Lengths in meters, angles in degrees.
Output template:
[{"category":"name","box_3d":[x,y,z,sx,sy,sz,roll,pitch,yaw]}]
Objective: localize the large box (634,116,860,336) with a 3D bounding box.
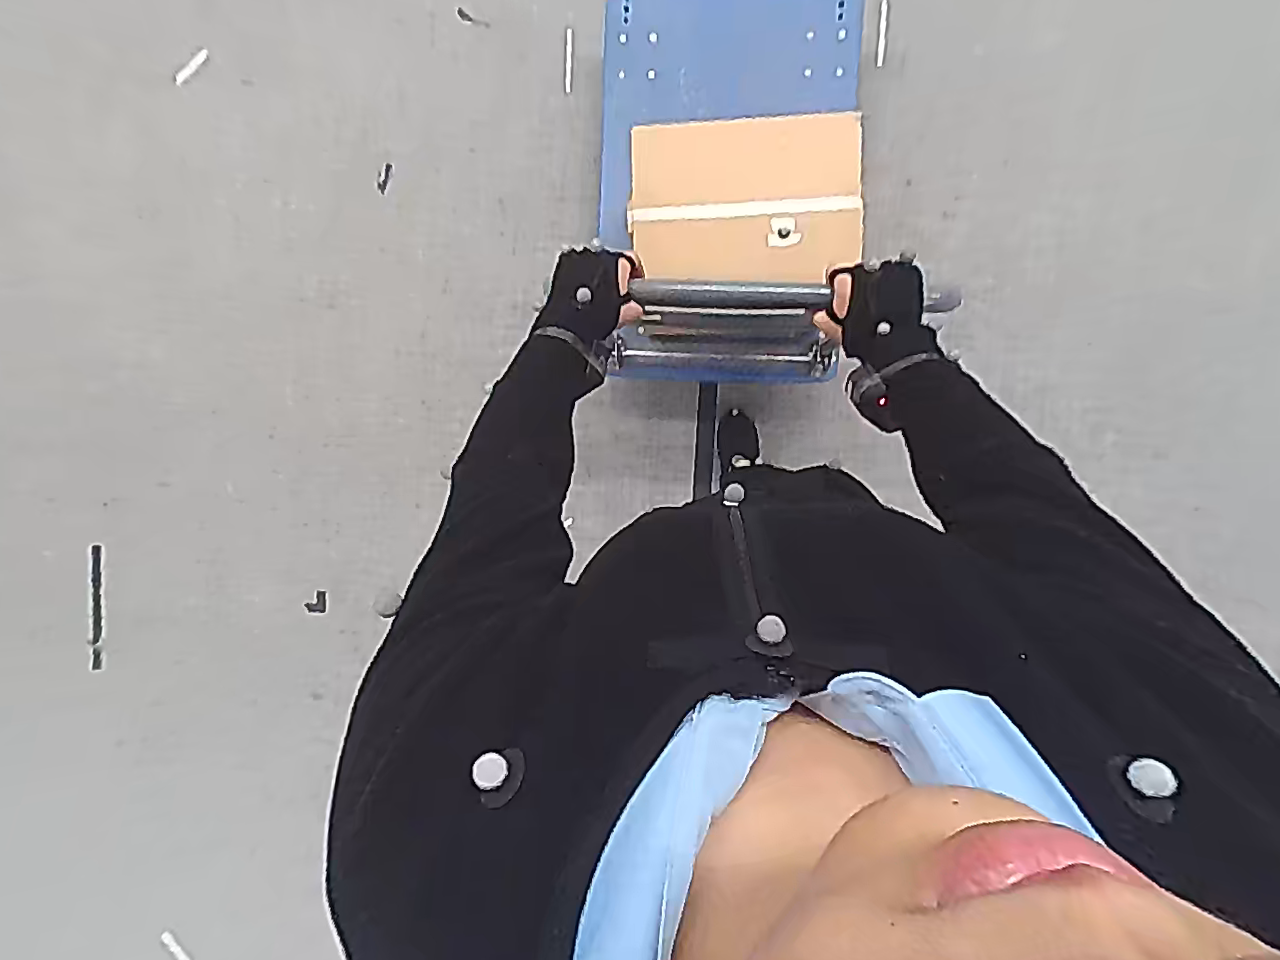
[{"category":"large box","box_3d":[0.201,-0.494,1.126,0.408,0.320,0.320,-1,94,4]}]
